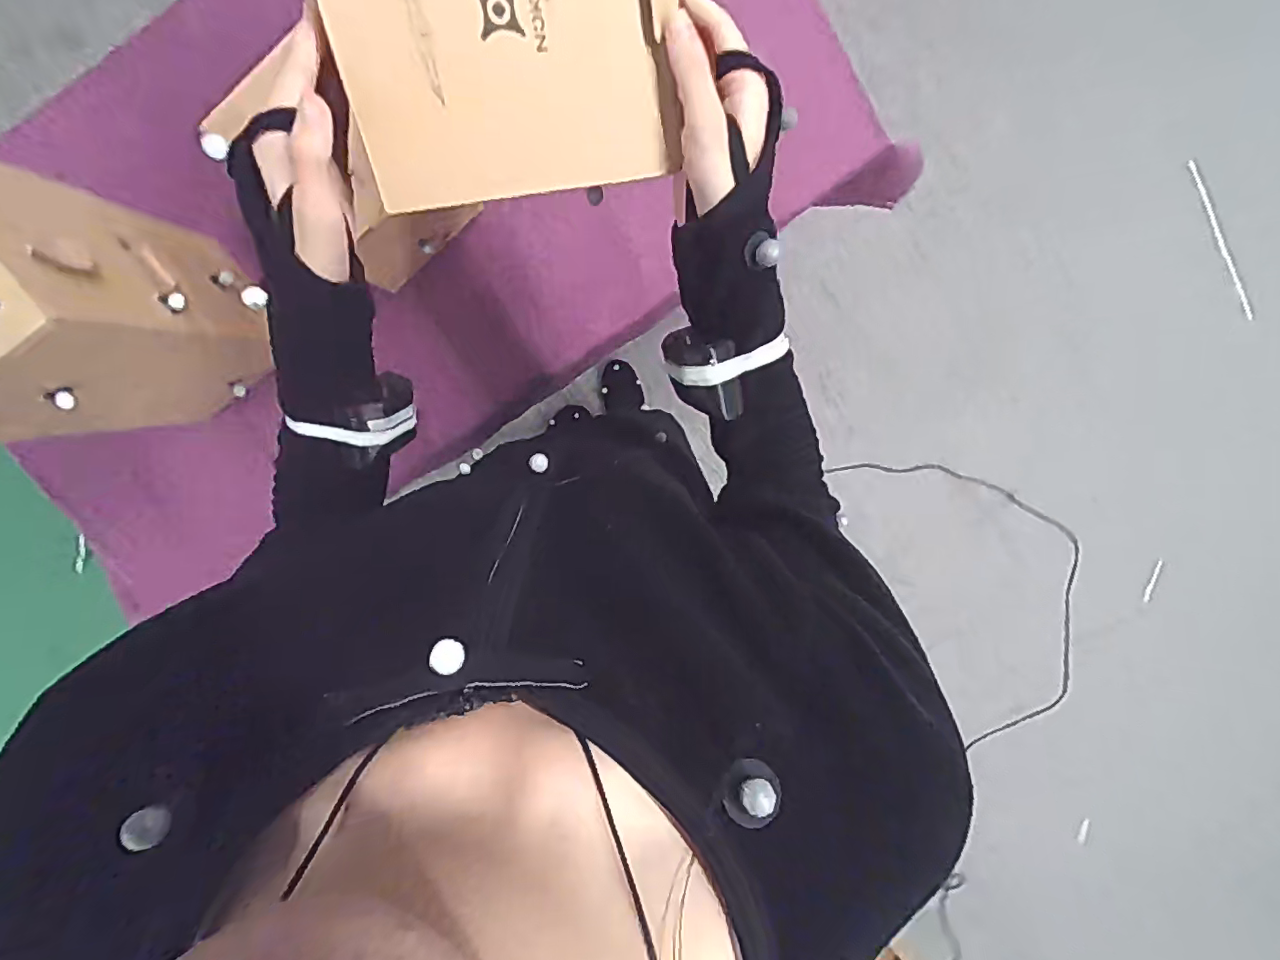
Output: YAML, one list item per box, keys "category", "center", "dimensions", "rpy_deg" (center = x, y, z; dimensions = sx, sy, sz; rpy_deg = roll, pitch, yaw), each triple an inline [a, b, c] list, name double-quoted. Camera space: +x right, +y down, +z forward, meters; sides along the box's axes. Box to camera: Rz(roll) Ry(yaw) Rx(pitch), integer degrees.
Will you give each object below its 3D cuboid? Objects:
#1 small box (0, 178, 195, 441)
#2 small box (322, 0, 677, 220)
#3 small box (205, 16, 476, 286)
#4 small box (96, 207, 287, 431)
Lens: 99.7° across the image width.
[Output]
- category: "small box"
  center: [-0.557, -0.149, 0.481]
  dimensions: [0.179, 0.176, 0.168]
  rpy_deg: [-35, 101, 5]
- category: "small box"
  center: [-0.085, -0.272, 0.345]
  dimensions: [0.179, 0.176, 0.168]
  rpy_deg: [-11, 122, -8]
- category: "small box"
  center: [-0.321, -0.351, 0.623]
  dimensions: [0.168, 0.176, 0.179]
  rpy_deg: [-40, 101, 6]
- category: "small box"
  center: [-0.566, -0.180, 0.643]
  dimensions: [0.179, 0.176, 0.168]
  rpy_deg: [-36, 100, 3]
